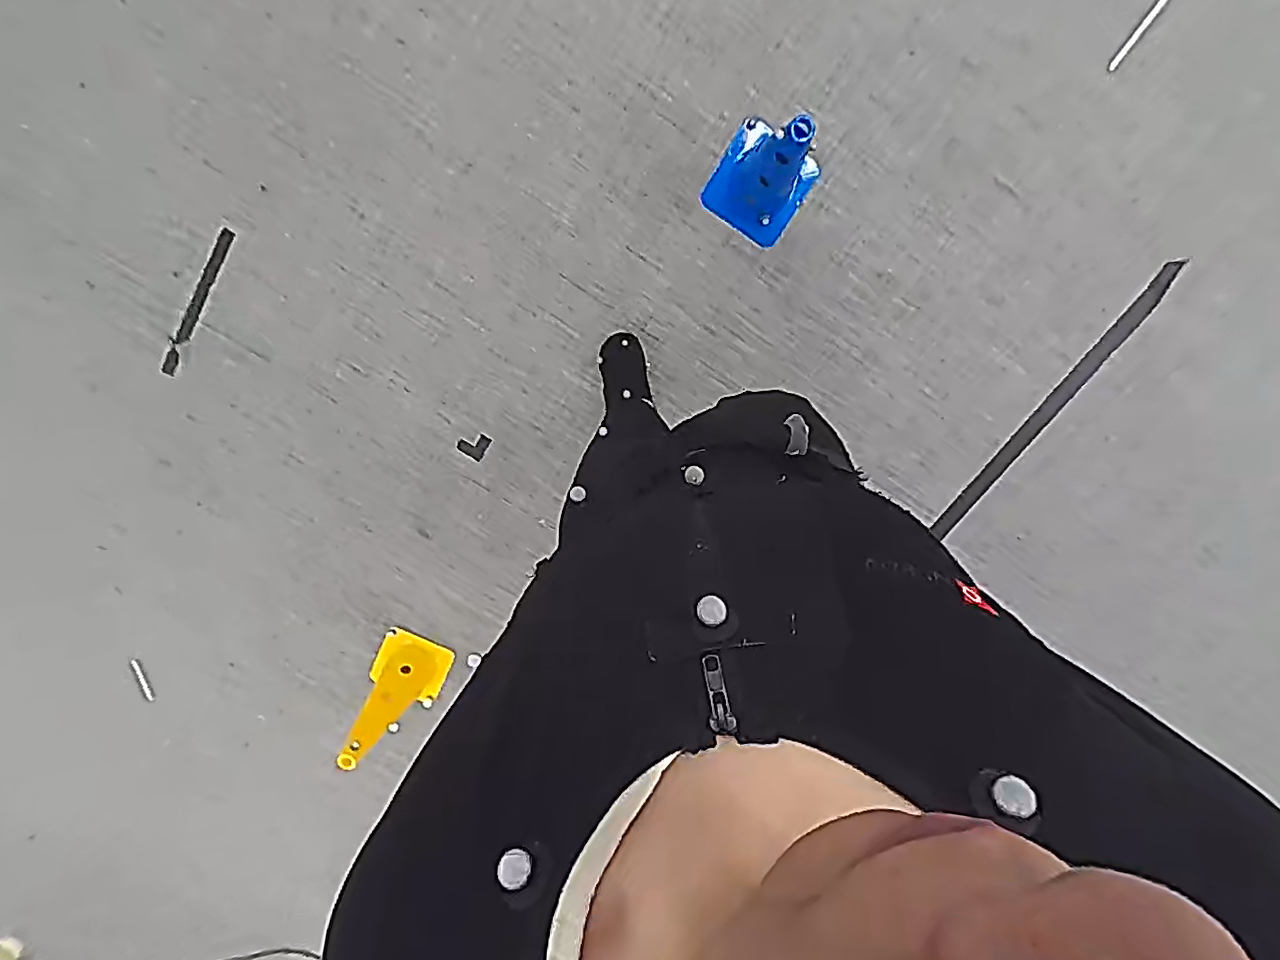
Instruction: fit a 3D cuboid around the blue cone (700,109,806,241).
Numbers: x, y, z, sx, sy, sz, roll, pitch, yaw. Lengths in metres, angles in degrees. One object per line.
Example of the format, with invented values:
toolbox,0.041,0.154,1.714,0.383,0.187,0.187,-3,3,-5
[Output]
blue cone,0.242,-0.605,1.024,0.192,0.380,0.193,33,104,-7
